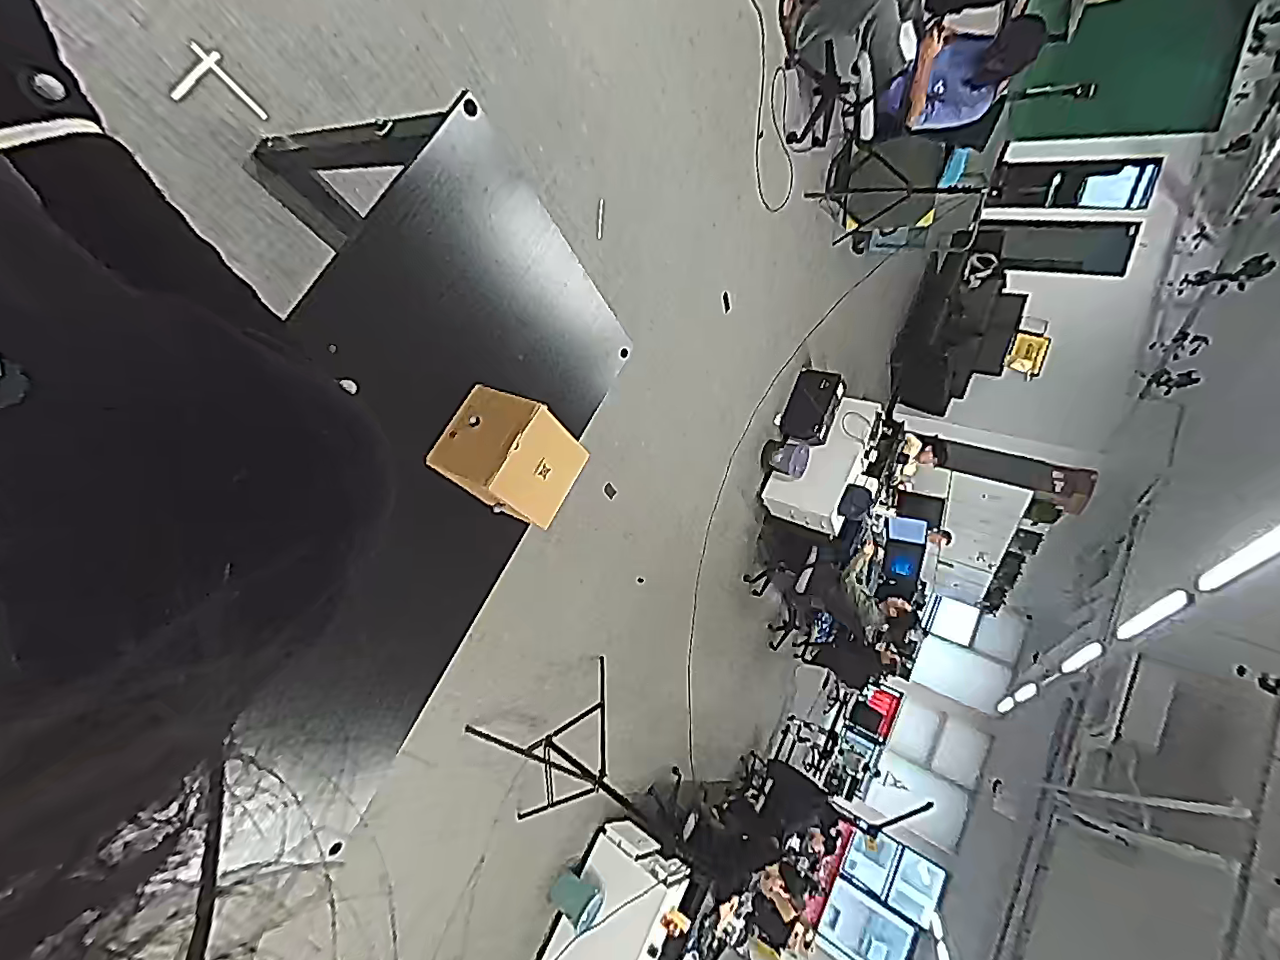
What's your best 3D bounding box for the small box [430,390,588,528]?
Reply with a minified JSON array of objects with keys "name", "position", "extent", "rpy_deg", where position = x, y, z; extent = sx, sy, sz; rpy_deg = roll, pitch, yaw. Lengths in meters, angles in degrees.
[{"name":"small box","position":[-0.230,-0.041,0.965],"extent":[0.168,0.176,0.179],"rpy_deg":[-62,146,-14]}]
